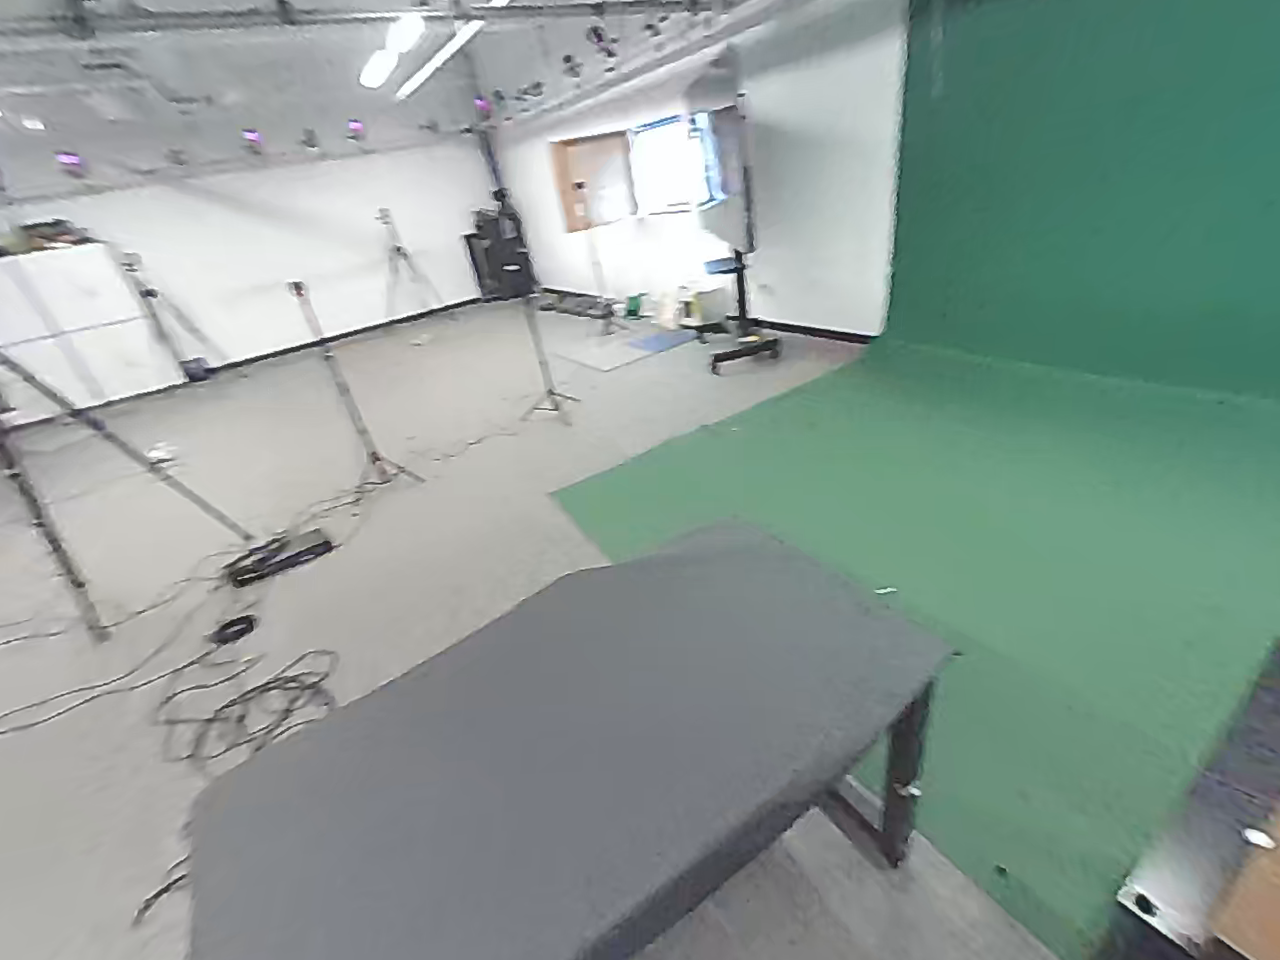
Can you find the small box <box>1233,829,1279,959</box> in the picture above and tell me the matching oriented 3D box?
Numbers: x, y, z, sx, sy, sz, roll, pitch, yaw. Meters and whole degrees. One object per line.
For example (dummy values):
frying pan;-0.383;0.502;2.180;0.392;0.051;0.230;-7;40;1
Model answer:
small box;0.731;0.417;0.518;0.179;0.176;0.168;-25;34;-24
